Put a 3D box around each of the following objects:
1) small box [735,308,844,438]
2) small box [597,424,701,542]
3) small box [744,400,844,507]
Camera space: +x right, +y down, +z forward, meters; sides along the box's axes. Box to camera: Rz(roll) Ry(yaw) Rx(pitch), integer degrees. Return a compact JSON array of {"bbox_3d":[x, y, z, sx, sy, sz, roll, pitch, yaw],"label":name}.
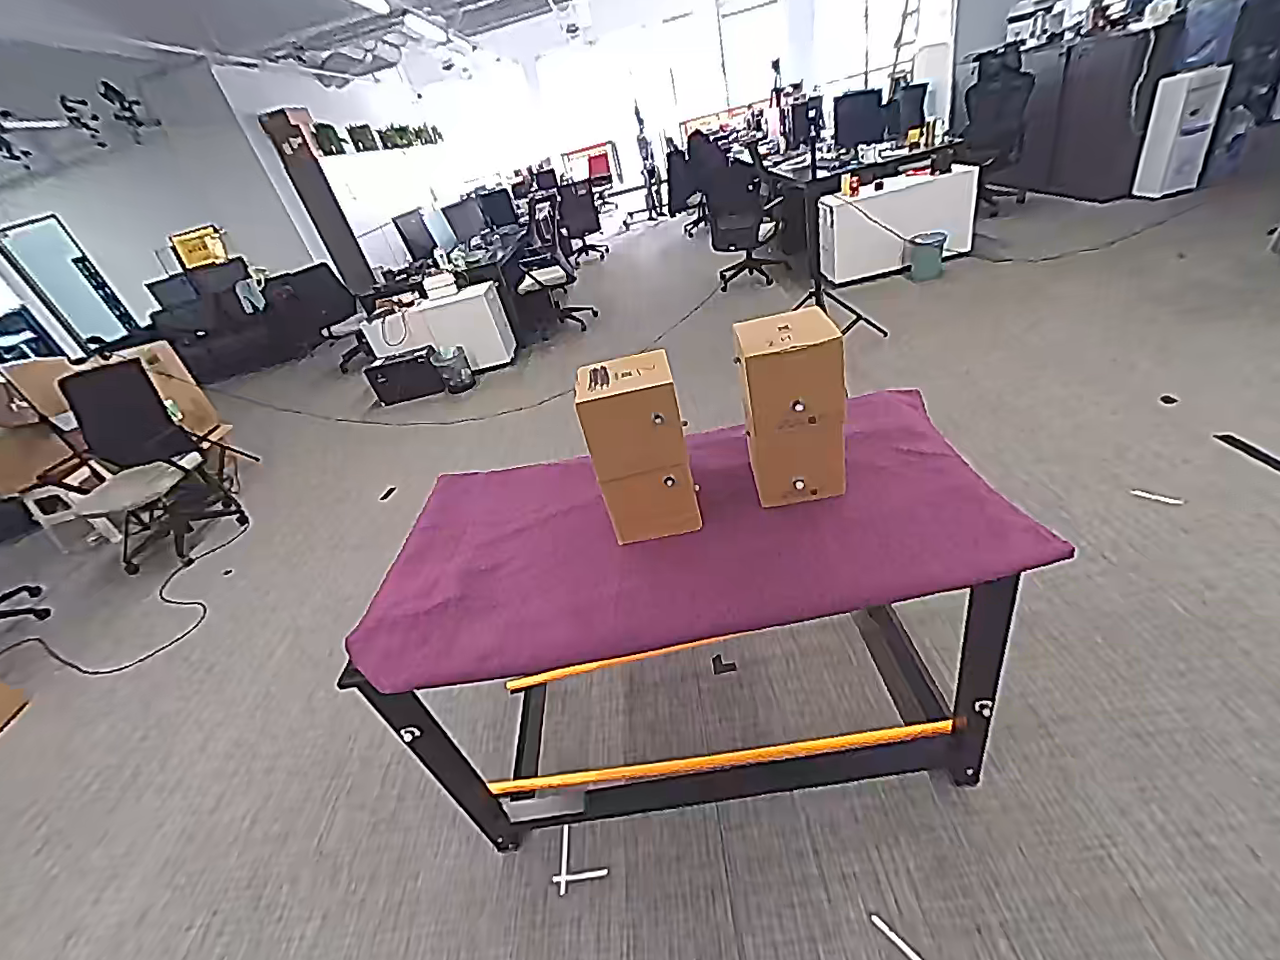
[{"bbox_3d":[0.278,-0.202,1.019,0.168,0.176,0.179,-11,34,9],"label":"small box"},{"bbox_3d":[0.020,0.009,1.120,0.179,0.176,0.168,-11,33,5],"label":"small box"},{"bbox_3d":[0.313,-0.068,1.110,0.168,0.176,0.179,-10,34,9],"label":"small box"}]
